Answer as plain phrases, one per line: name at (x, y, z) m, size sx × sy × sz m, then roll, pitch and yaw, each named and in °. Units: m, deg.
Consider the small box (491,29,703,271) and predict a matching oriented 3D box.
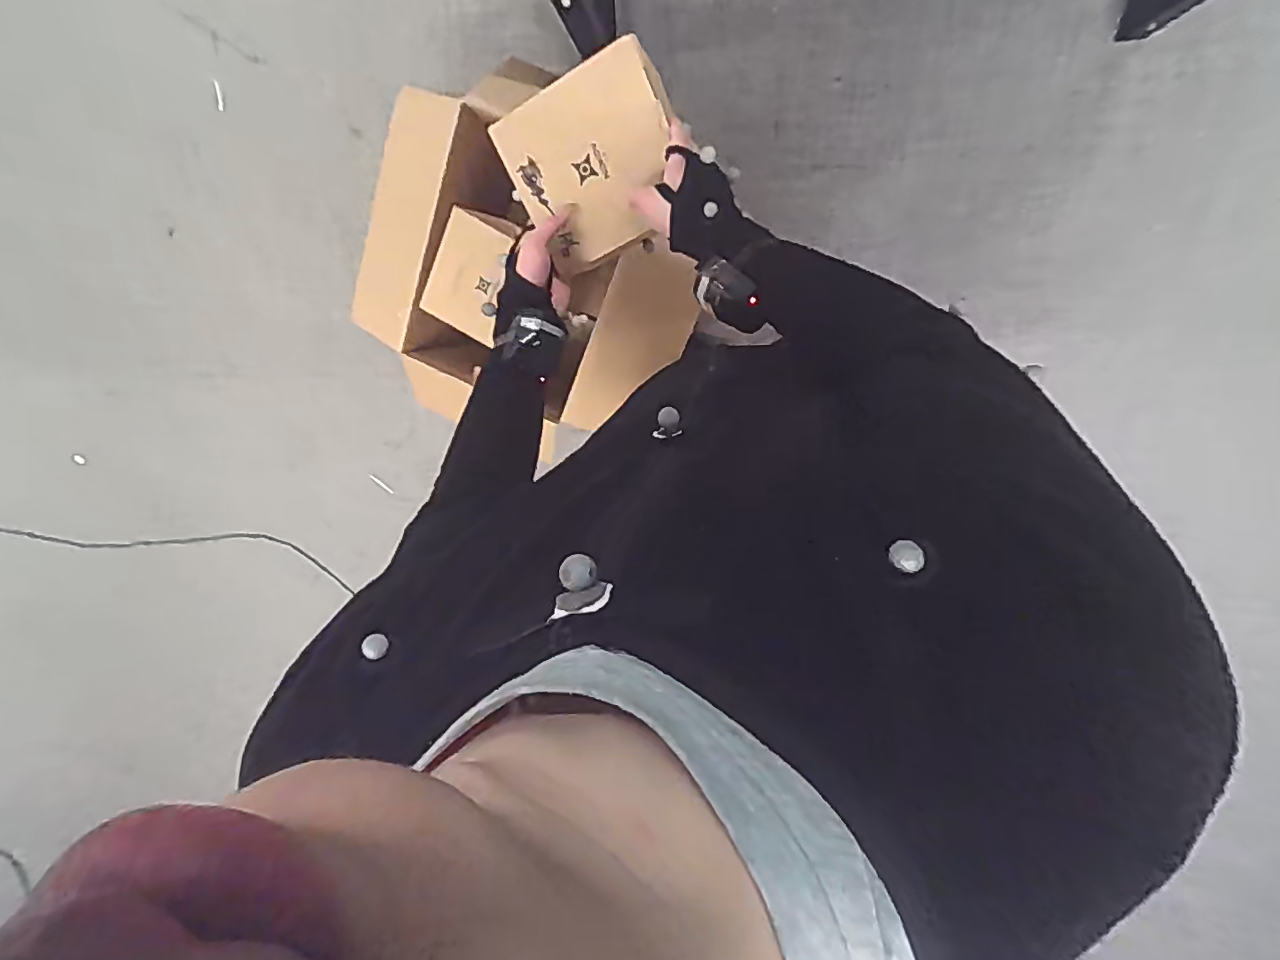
small box at (-0.034, -0.365, 0.629) m, size 0.179 × 0.176 × 0.168 m, roll -19°, pitch 110°, yaw 18°
